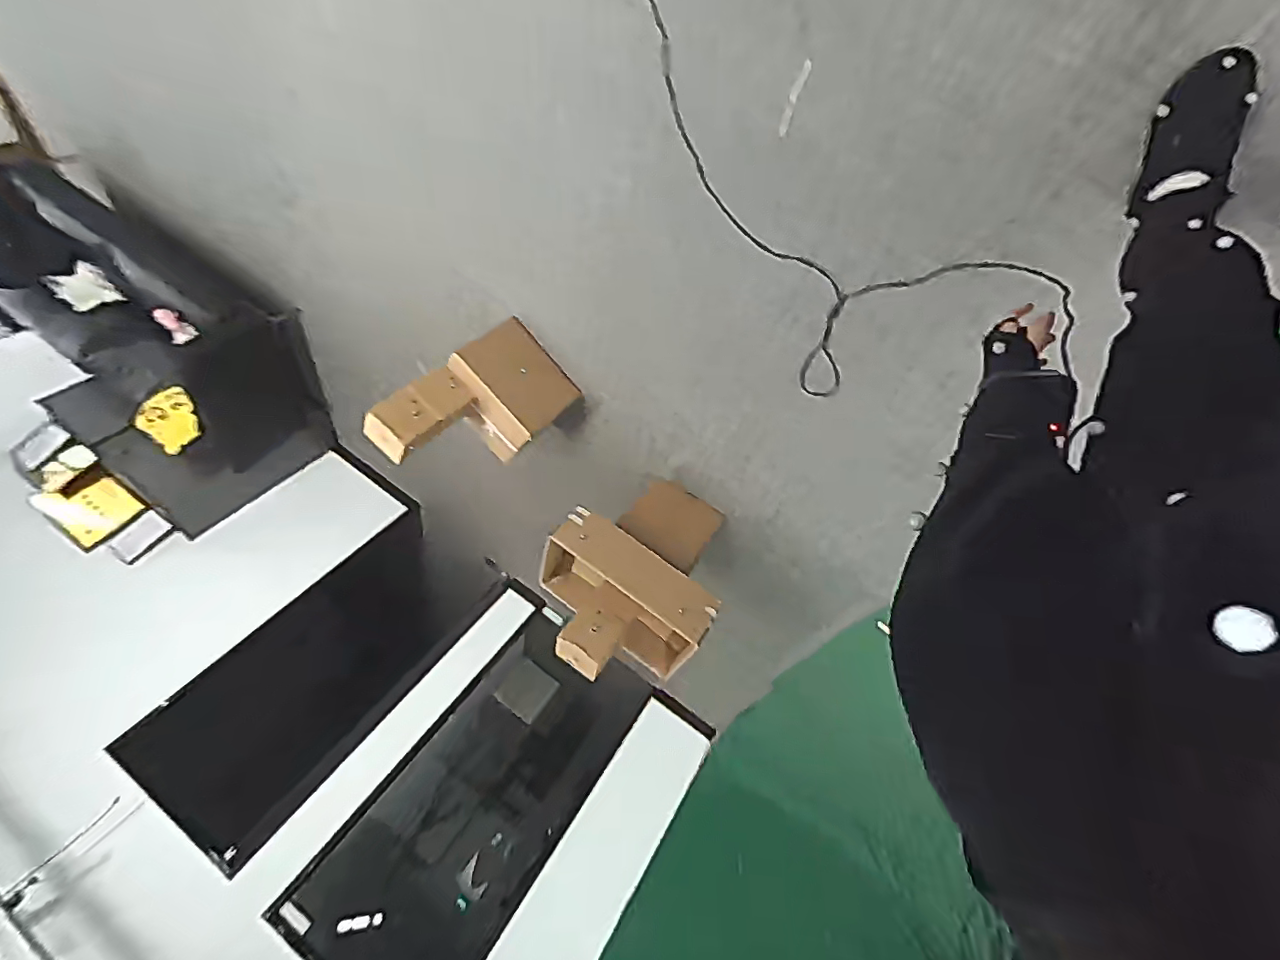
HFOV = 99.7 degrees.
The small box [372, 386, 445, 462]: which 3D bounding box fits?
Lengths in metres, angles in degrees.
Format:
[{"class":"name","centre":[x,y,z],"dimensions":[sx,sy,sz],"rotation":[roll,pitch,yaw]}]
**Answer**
[{"class":"small box","centre":[-0.822,-0.199,1.923],"dimensions":[0.168,0.176,0.179],"rotation":[46,144,-4]}]

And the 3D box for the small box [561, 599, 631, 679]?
[{"class":"small box","centre":[-0.150,0.542,1.858],"dimensions":[0.168,0.176,0.179],"rotation":[33,142,13]}]

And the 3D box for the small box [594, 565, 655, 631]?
[{"class":"small box","centre":[-0.064,0.444,1.958],"dimensions":[0.168,0.176,0.179],"rotation":[34,142,11]}]
